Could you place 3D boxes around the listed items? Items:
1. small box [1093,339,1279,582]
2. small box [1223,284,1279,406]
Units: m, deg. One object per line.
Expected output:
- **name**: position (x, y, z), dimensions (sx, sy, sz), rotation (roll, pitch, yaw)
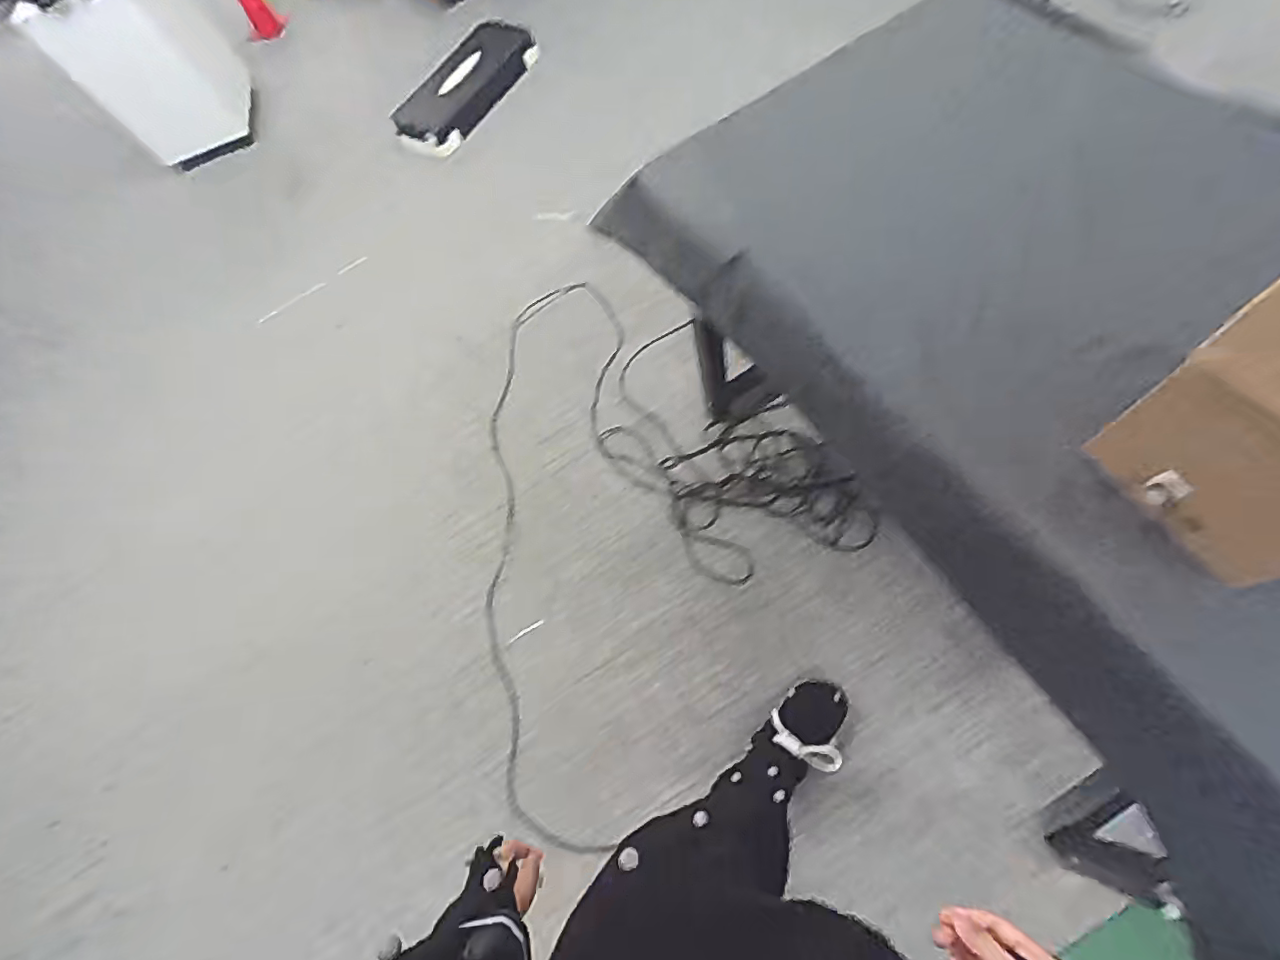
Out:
- **small box**: position (0.536, -0.042, 0.436), dimensions (0.179, 0.176, 0.168), rotation (-31, 64, -2)
- **small box**: position (0.497, -0.105, 0.291), dimensions (0.179, 0.176, 0.168), rotation (-31, 64, -4)
